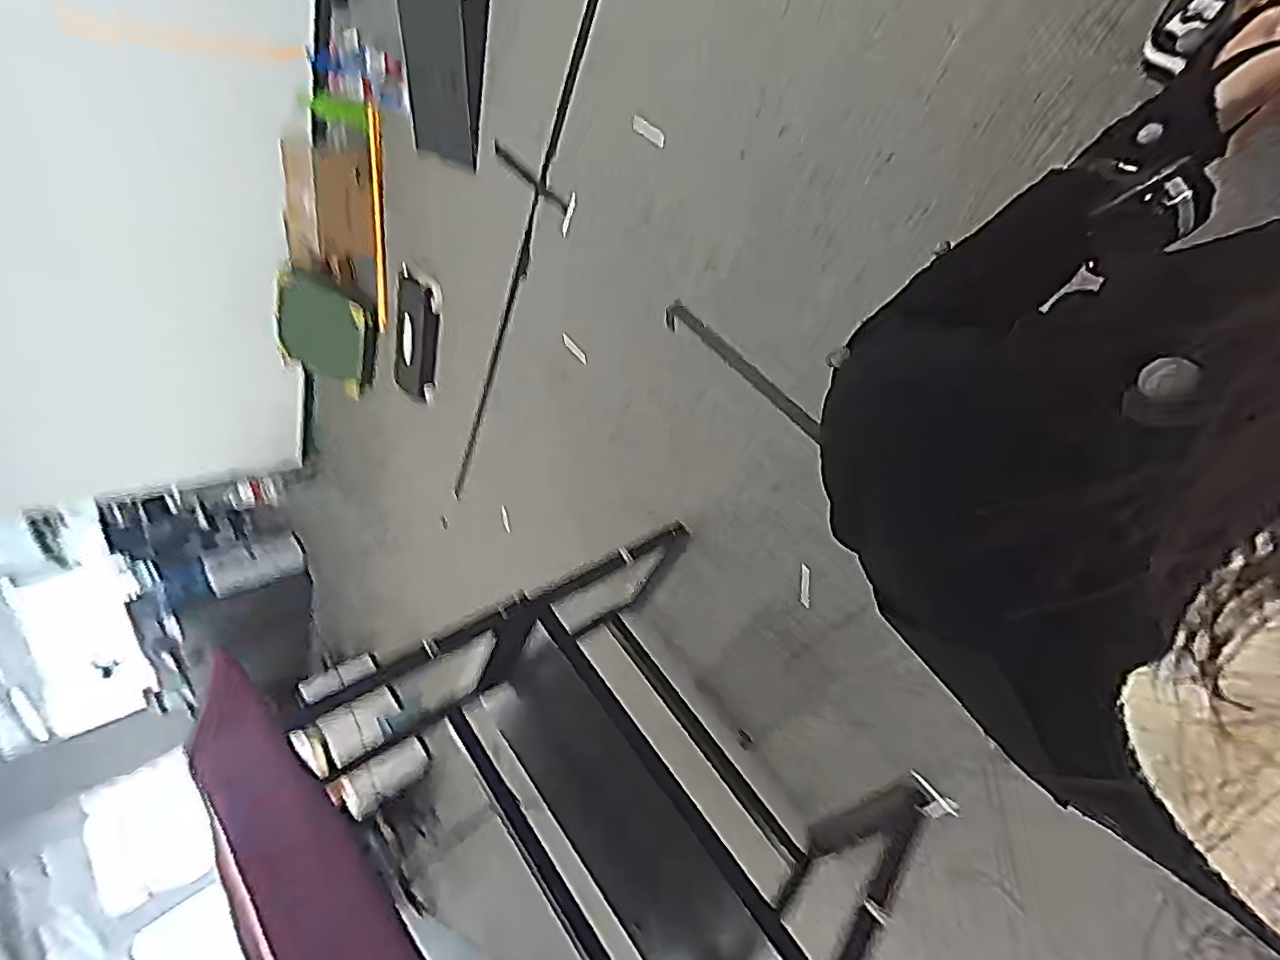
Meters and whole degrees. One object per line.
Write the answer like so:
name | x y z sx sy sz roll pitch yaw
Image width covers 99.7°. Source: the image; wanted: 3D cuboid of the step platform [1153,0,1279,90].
step platform | 1.111 -0.620 0.732 0.684 0.204 0.286 53 133 18

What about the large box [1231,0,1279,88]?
large box | 0.970 -0.547 0.553 0.408 0.320 0.320 52 131 19
